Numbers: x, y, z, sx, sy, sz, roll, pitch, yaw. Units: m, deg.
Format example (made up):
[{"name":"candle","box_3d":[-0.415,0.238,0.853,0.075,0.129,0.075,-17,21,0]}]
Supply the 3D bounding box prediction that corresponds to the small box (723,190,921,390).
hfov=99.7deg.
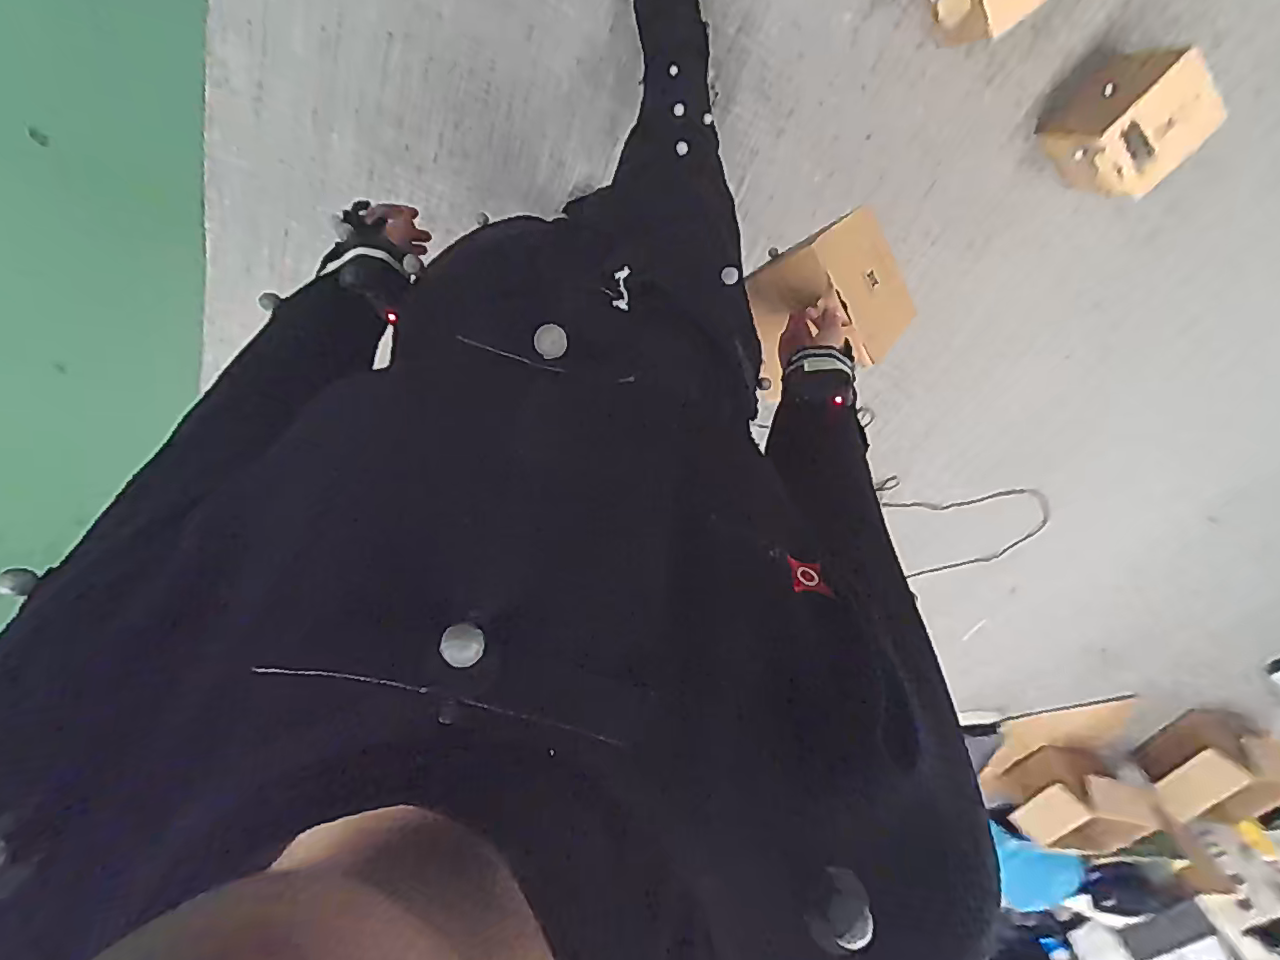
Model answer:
[{"name":"small box","box_3d":[0.235,-0.242,0.718,0.176,0.179,0.168,-13,116,50]}]

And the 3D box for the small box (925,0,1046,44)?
[{"name":"small box","box_3d":[0.580,-0.847,0.865,0.179,0.176,0.168,-35,121,19]}]
